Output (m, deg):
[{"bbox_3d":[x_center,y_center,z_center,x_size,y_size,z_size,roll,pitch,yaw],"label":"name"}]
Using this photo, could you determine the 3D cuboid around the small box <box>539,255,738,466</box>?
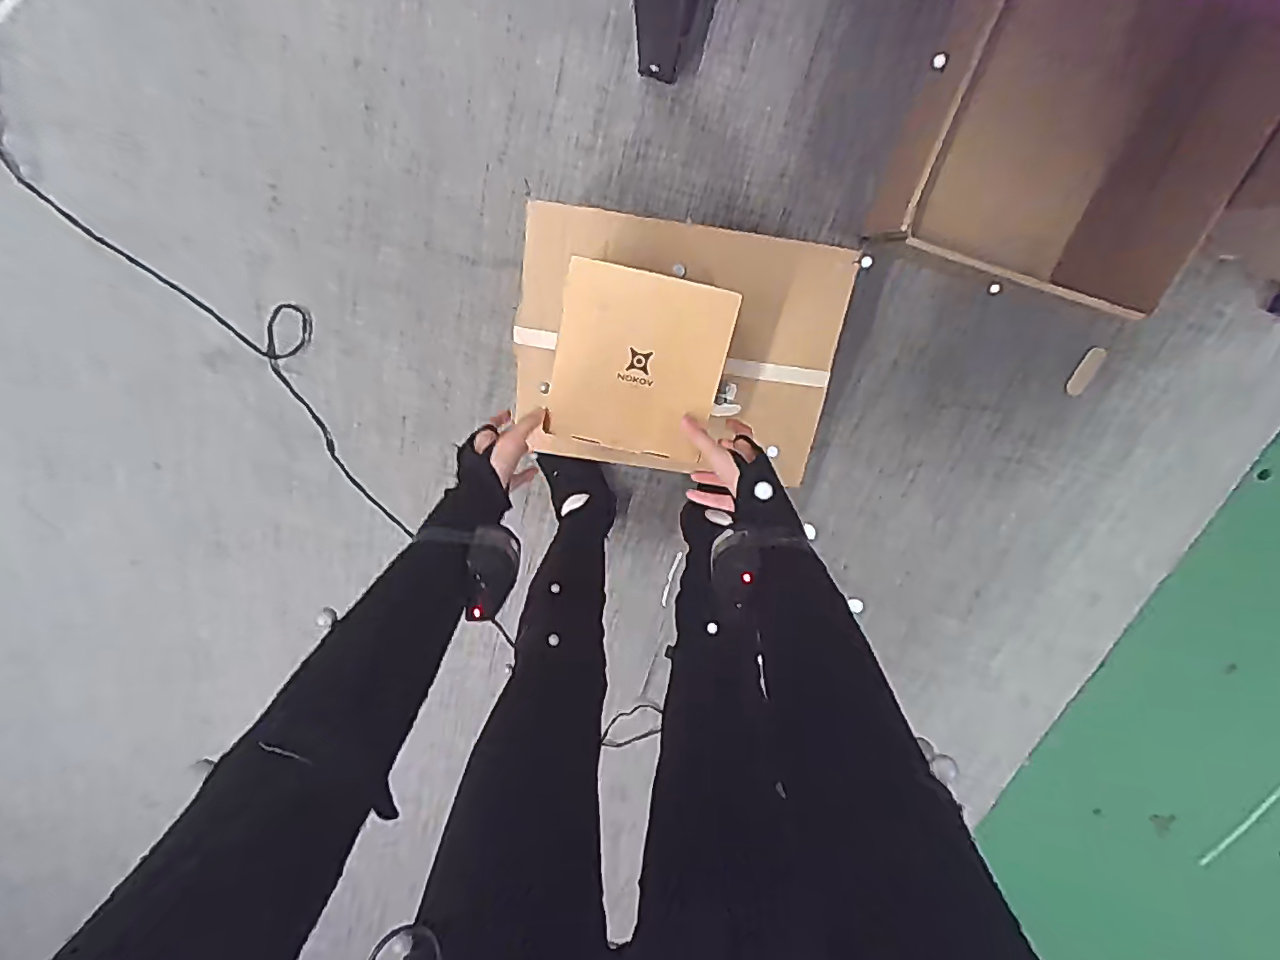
[{"bbox_3d":[-0.004,-0.136,0.597,0.168,0.176,0.179,12,110,-3],"label":"small box"}]

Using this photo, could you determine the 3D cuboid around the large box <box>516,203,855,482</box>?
[{"bbox_3d":[0.043,-0.213,0.829,0.408,0.320,0.320,7,112,-3],"label":"large box"}]
